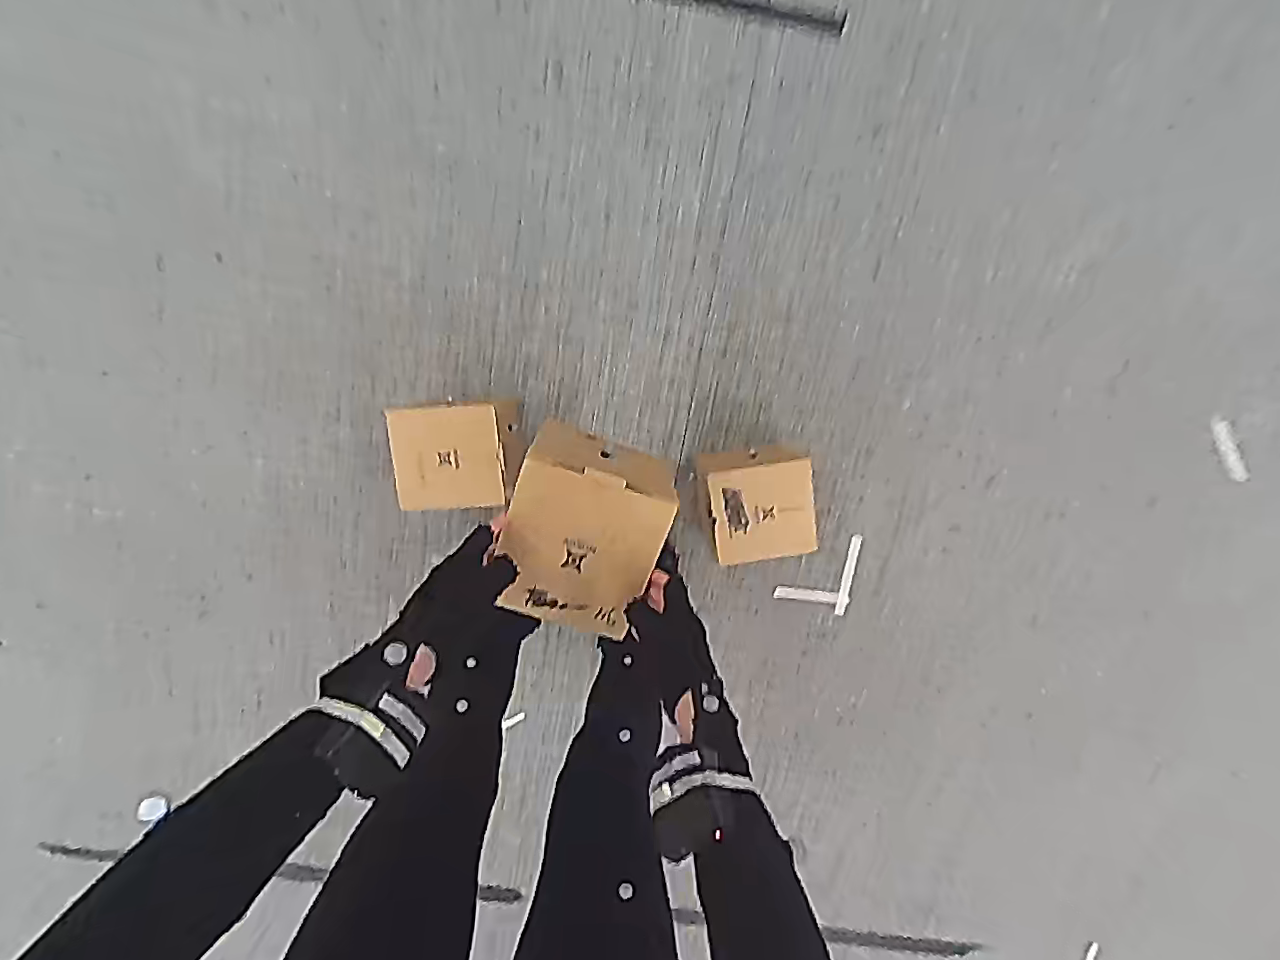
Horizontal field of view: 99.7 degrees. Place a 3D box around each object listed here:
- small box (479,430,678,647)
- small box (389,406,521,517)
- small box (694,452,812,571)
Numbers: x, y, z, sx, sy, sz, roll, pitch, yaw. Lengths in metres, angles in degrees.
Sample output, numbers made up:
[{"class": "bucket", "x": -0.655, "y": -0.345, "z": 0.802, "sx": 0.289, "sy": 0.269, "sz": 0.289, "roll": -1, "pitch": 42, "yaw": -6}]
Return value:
[{"class": "small box", "x": -0.071, "y": 0.057, "z": 0.637, "sx": 0.168, "sy": 0.176, "sz": 0.179, "roll": 19, "pitch": 106, "yaw": -9}, {"class": "small box", "x": -0.311, "y": -0.039, "z": 0.951, "sx": 0.179, "sy": 0.176, "sz": 0.168, "roll": -3, "pitch": 102, "yaw": -1}, {"class": "small box", "x": 0.197, "y": 0.050, "z": 0.990, "sx": 0.179, "sy": 0.176, "sz": 0.168, "roll": -9, "pitch": 103, "yaw": -1}]
